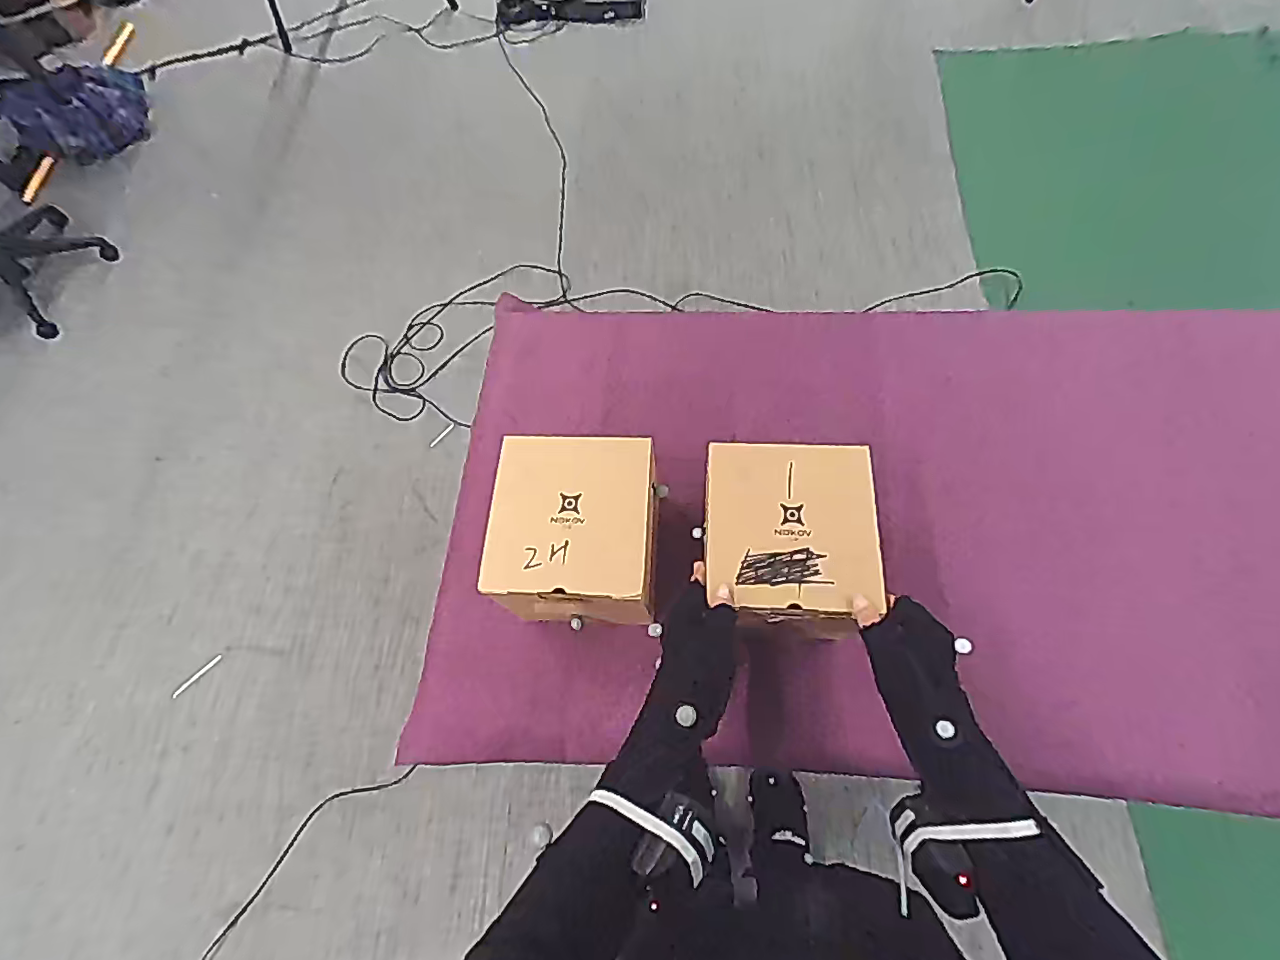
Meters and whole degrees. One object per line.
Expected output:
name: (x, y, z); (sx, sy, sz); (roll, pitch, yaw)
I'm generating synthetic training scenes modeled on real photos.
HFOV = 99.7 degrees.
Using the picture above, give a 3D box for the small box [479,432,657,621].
small box: (-0.068, 0.060, 0.635); (0.168, 0.176, 0.179); (1, 67, 6)

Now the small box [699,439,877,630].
small box: (0.153, 0.069, 0.611); (0.168, 0.176, 0.179); (2, 67, 6)
